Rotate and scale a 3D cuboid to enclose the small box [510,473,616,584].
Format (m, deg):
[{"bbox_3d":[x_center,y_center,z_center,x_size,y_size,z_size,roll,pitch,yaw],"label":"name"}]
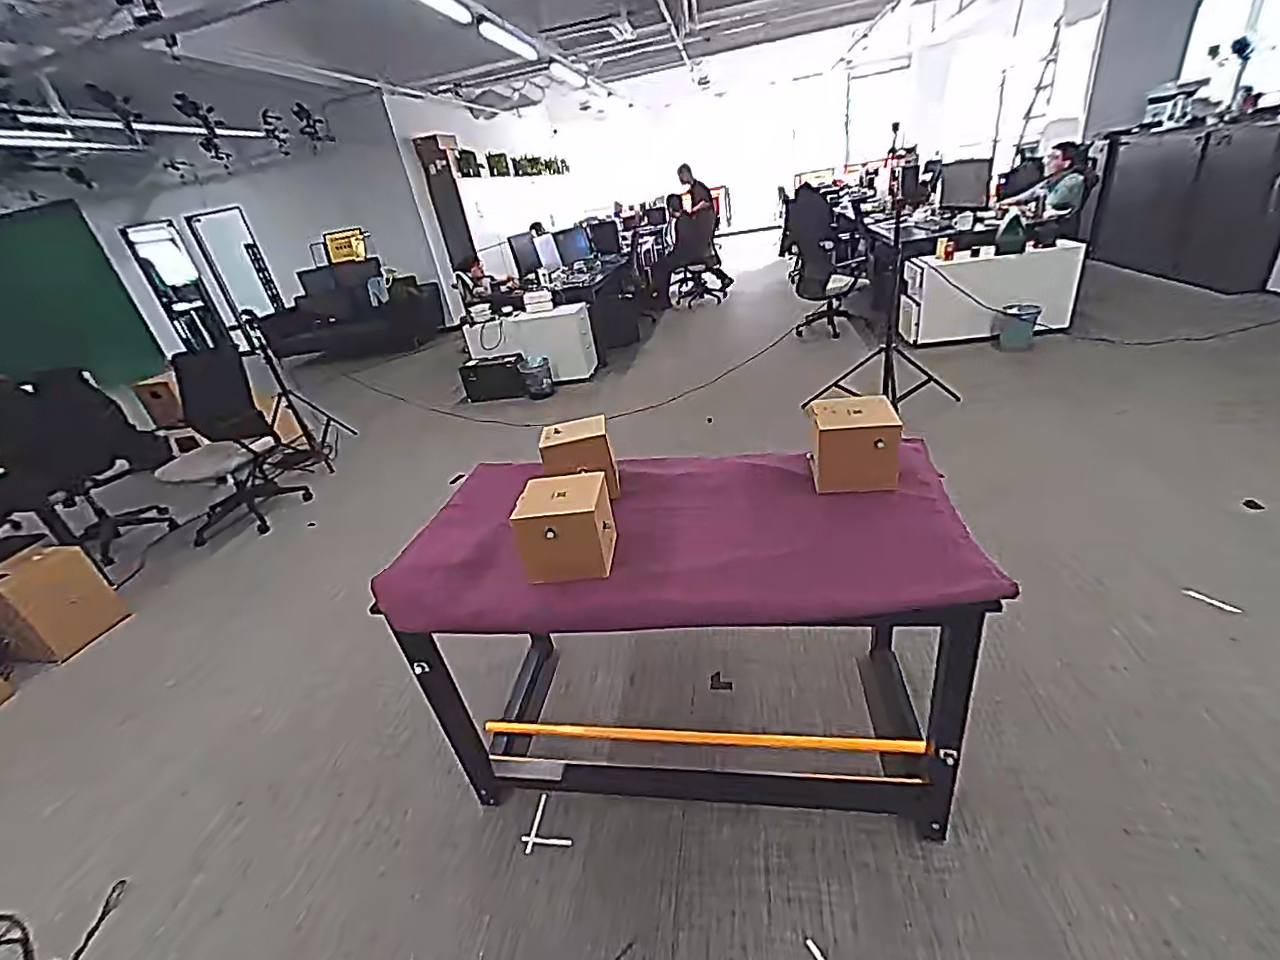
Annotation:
[{"bbox_3d":[-0.153,0.105,1.157,0.179,0.176,0.168,-7,28,8],"label":"small box"}]

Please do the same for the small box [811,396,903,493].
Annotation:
[{"bbox_3d":[0.500,-0.082,1.271,0.179,0.176,0.168,-3,30,12],"label":"small box"}]
